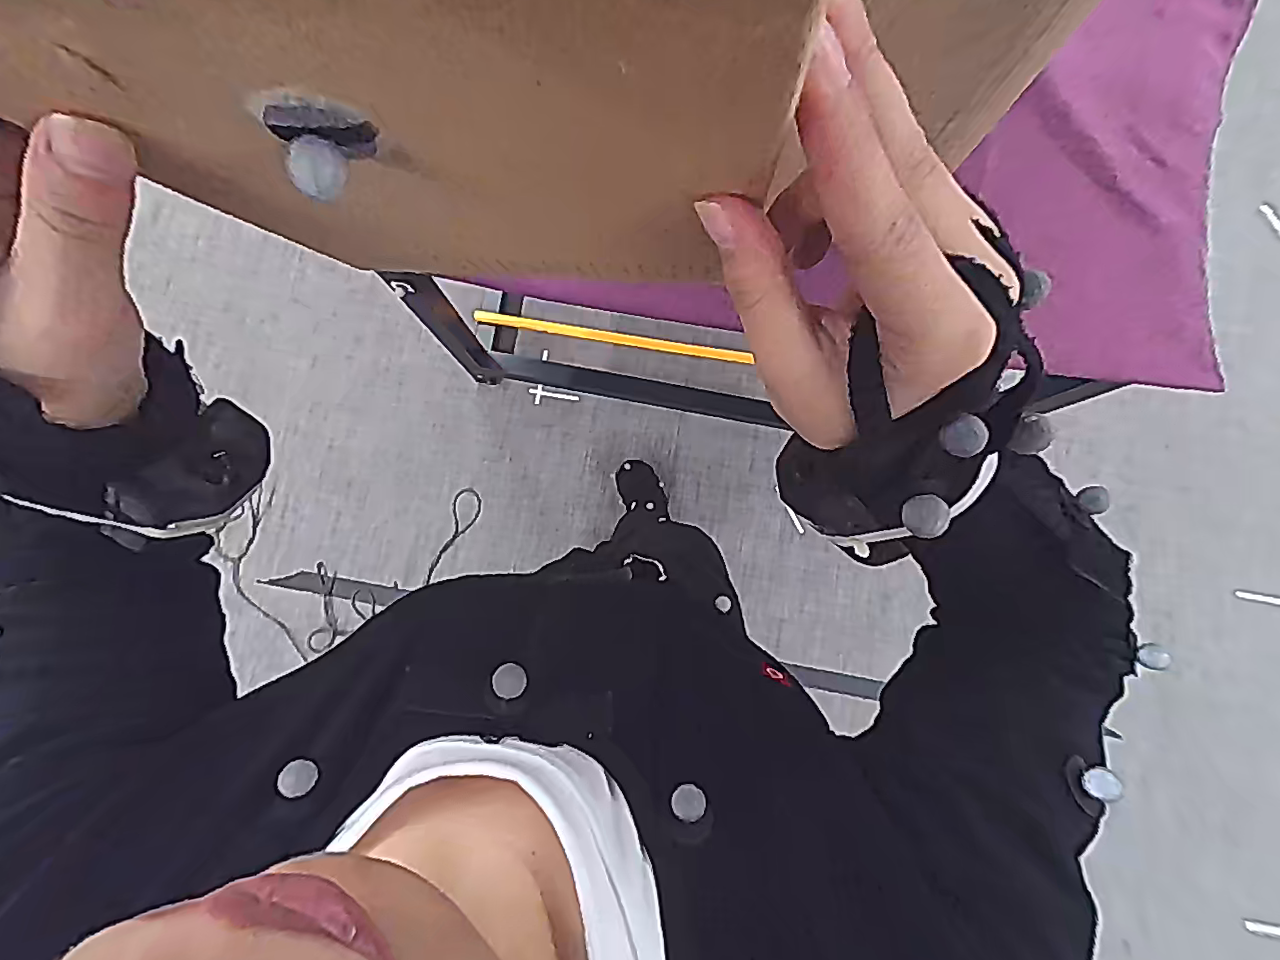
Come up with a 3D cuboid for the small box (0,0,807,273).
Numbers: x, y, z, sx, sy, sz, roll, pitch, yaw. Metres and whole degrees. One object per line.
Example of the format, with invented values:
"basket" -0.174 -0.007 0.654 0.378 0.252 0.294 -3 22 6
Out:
"small box" -0.045 -0.161 0.141 0.179 0.176 0.168 5 97 6
